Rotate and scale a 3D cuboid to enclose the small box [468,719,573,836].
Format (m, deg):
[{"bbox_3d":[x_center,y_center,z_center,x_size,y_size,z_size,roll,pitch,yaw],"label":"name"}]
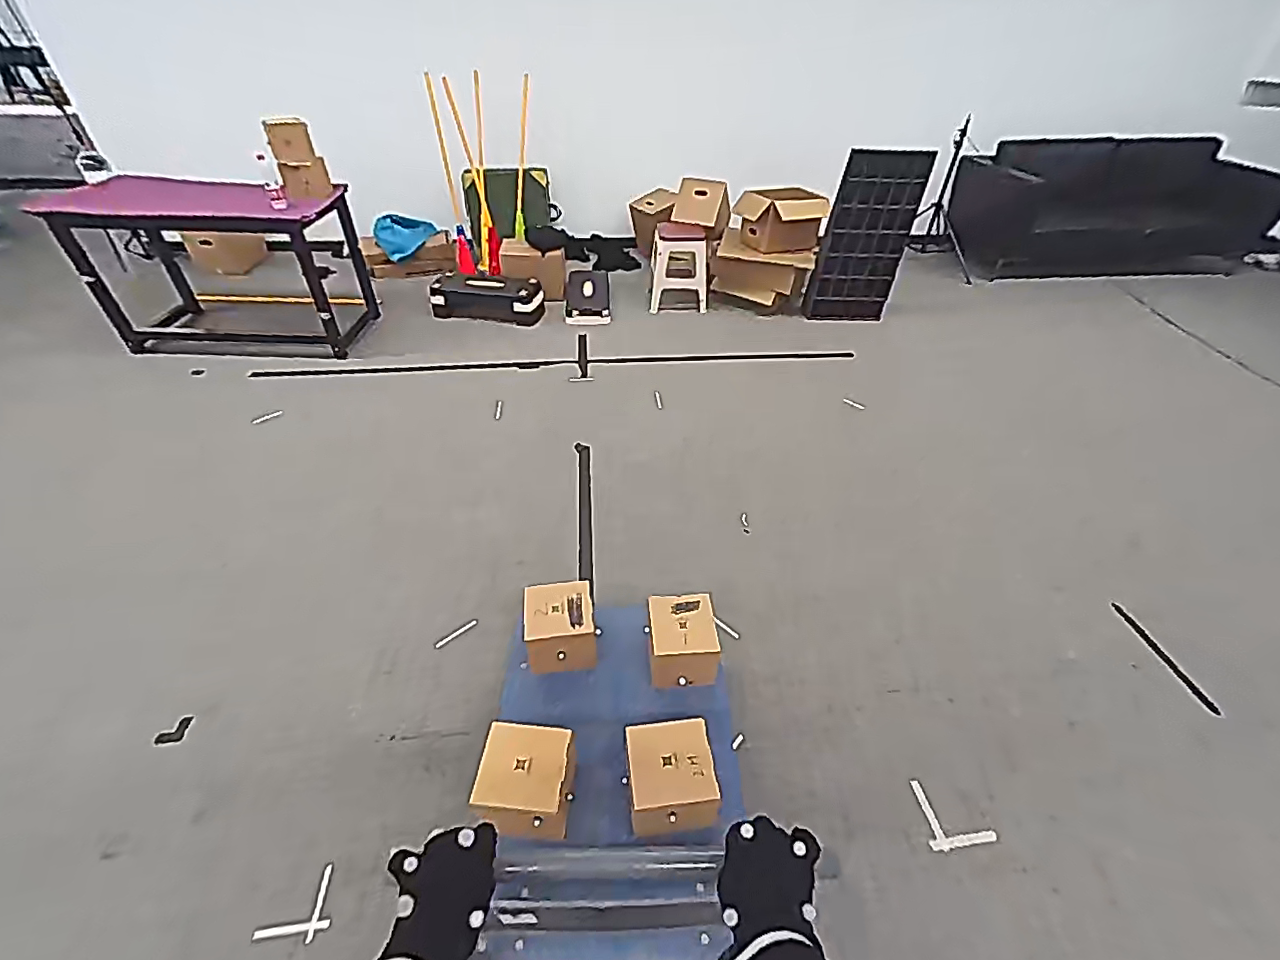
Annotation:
[{"bbox_3d":[-0.245,0.637,1.156,0.179,0.176,0.168,5,40,2],"label":"small box"}]

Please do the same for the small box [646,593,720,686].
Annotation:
[{"bbox_3d":[0.105,0.418,1.422,0.168,0.176,0.179,-2,42,-4],"label":"small box"}]

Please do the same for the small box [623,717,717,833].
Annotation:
[{"bbox_3d":[0.058,0.637,1.167,0.179,0.176,0.168,-3,41,-6],"label":"small box"}]
